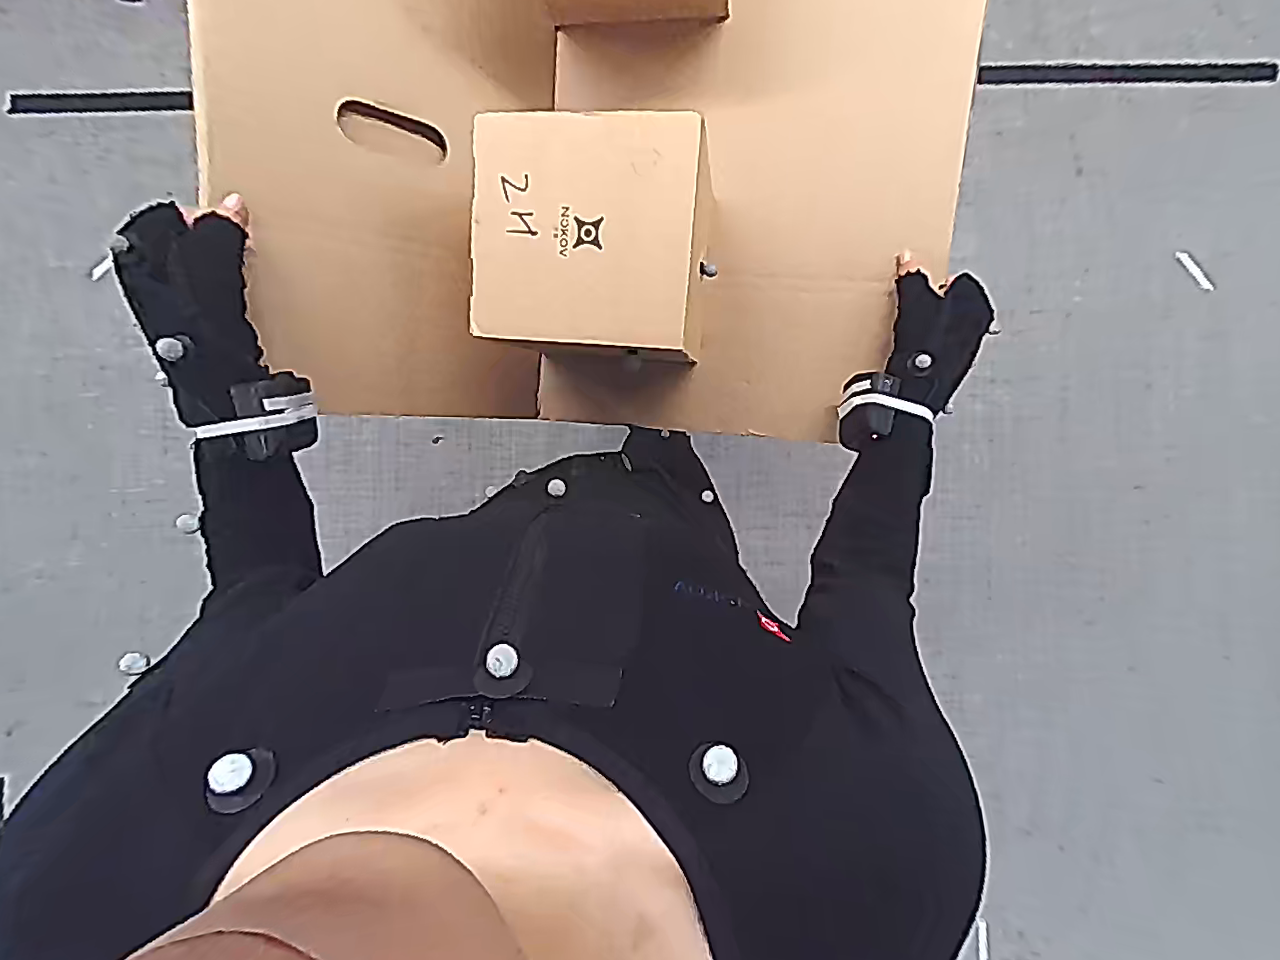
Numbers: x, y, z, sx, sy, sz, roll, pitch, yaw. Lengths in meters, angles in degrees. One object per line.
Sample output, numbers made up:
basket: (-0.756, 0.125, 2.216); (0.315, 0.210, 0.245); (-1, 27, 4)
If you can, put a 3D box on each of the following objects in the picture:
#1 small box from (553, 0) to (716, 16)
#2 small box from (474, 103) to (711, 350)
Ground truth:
small box: (-0.011, -0.526, 0.443); (0.179, 0.176, 0.168); (5, 100, 9)
small box: (-0.031, -0.213, 0.495); (0.179, 0.176, 0.168); (7, 100, 9)
